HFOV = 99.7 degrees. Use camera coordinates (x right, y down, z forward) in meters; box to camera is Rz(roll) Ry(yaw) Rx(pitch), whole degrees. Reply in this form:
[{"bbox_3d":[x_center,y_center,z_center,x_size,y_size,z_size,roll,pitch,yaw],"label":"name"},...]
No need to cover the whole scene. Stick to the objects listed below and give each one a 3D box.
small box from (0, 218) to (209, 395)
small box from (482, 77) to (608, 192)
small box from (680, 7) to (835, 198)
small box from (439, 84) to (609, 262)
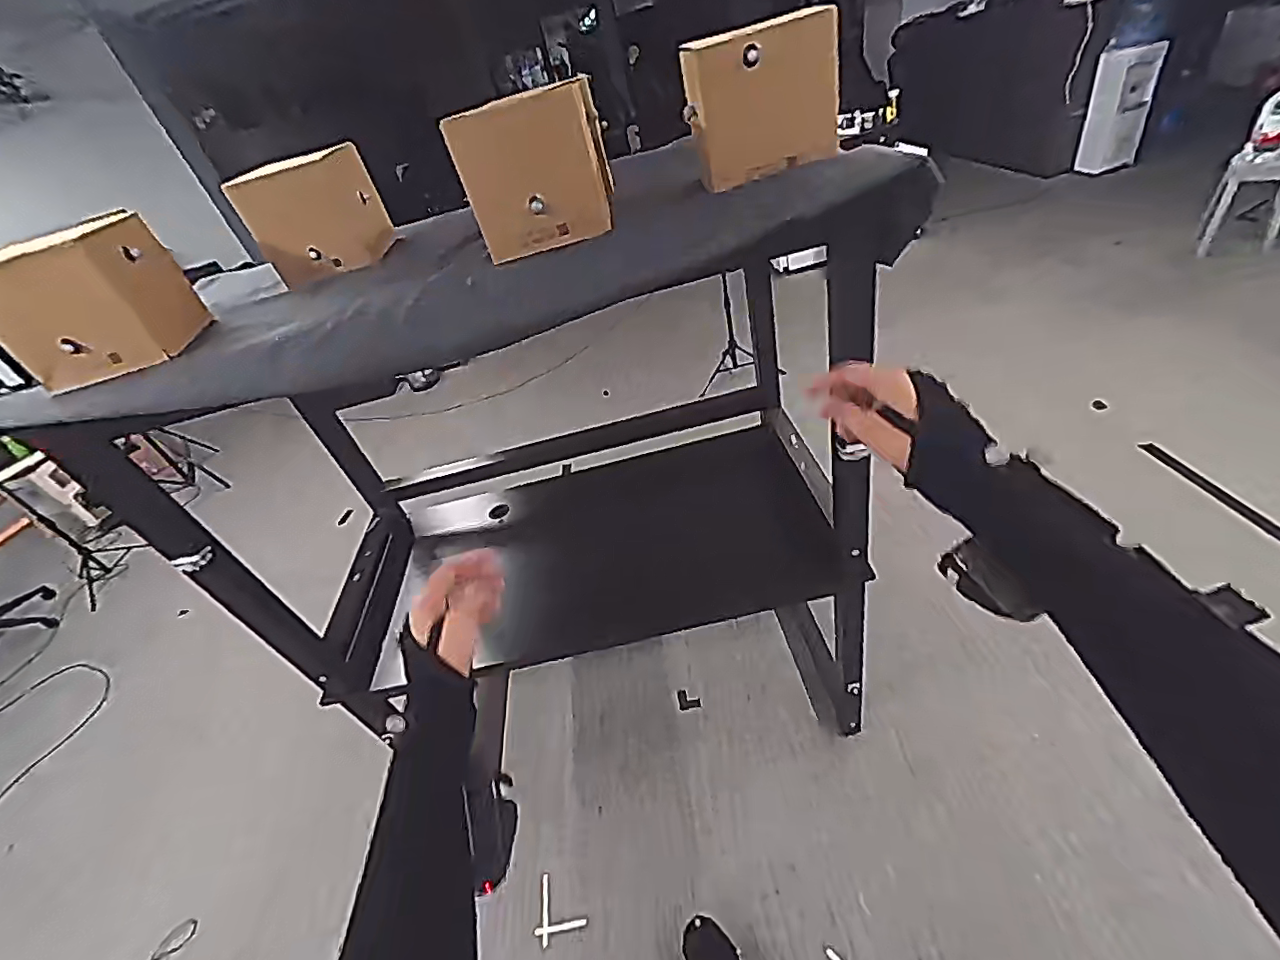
[{"bbox_3d":[-0.765,-0.245,0.763,0.168,0.176,0.179,-19,39,-4],"label":"small box"},{"bbox_3d":[-0.154,-0.570,0.935,0.179,0.176,0.168,-13,37,5],"label":"small box"},{"bbox_3d":[0.155,-0.498,0.727,0.168,0.176,0.179,-13,37,7],"label":"small box"},{"bbox_3d":[-0.143,-0.416,0.738,0.168,0.176,0.179,-14,37,6],"label":"small box"}]
